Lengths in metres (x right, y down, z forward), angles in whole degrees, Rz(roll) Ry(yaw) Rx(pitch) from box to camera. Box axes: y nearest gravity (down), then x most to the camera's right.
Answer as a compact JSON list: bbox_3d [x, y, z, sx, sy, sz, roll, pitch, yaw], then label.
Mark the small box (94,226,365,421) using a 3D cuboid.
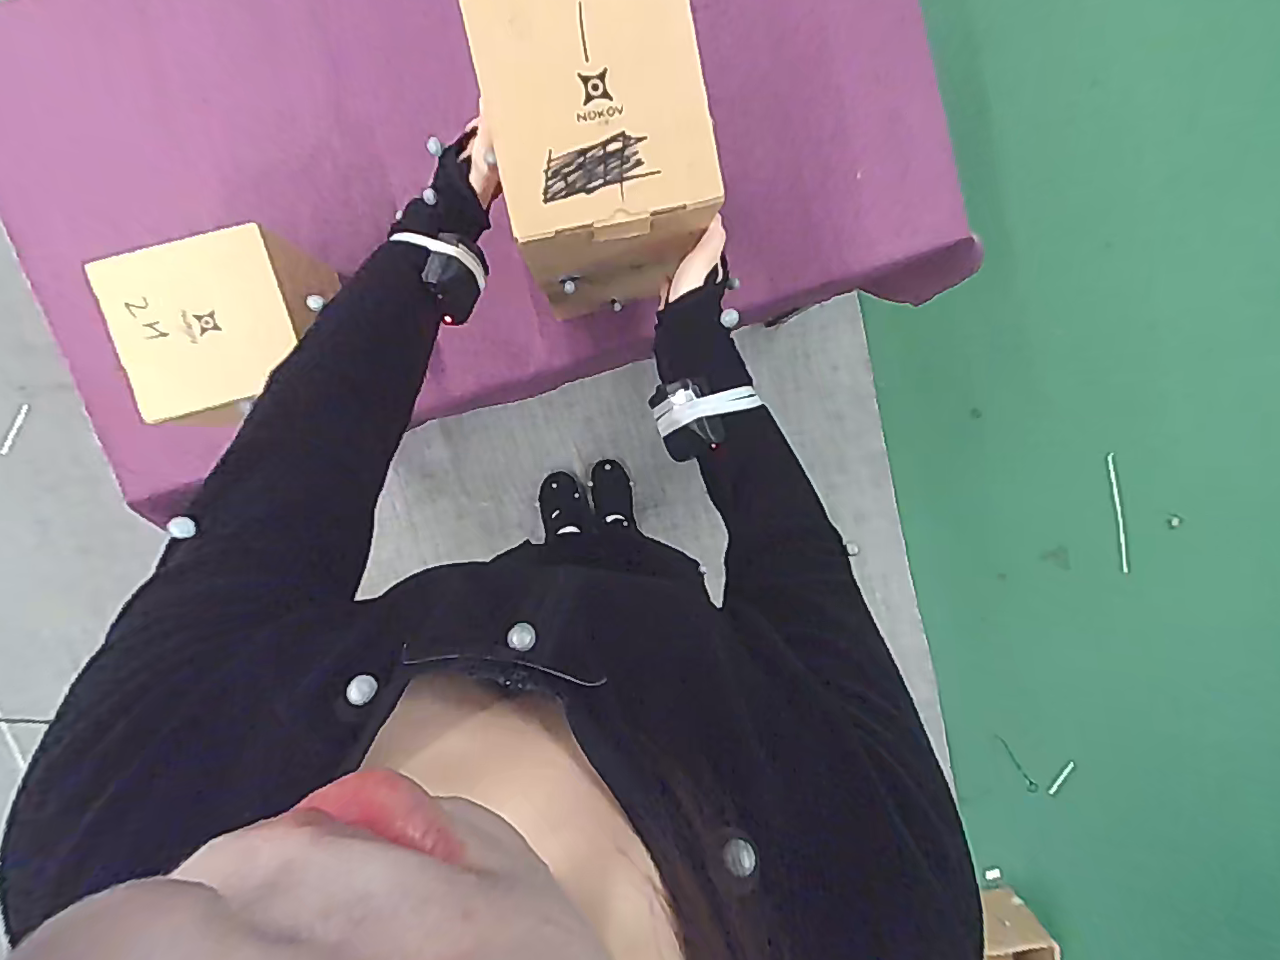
[{"bbox_3d":[-0.452,-0.169,0.635,0.179,0.176,0.168,-15,96,-2],"label":"small box"}]
